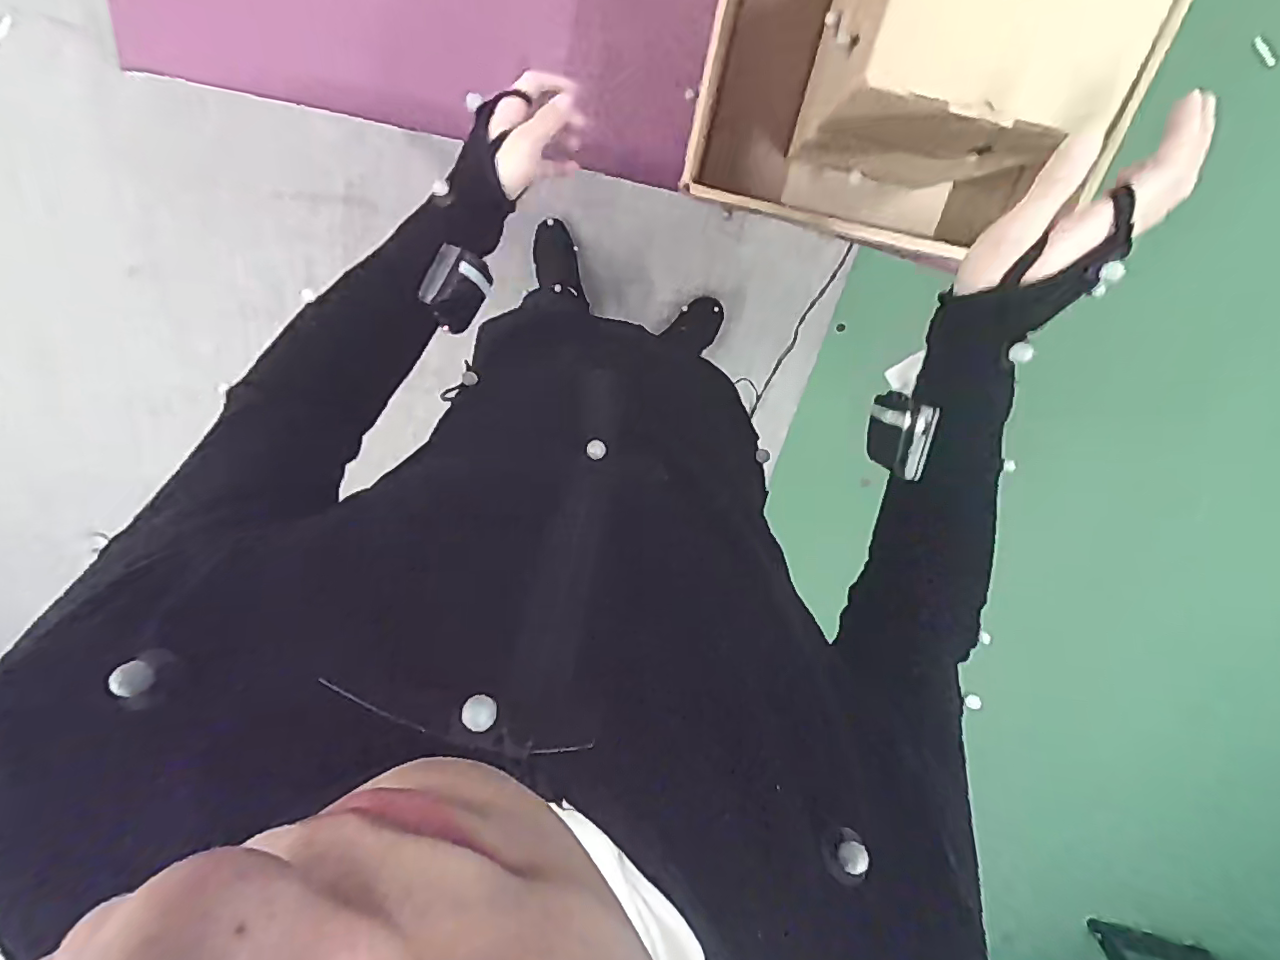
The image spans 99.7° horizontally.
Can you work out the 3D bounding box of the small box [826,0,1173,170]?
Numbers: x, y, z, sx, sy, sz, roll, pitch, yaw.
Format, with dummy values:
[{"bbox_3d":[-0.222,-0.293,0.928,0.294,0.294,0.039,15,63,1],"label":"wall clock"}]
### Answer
[{"bbox_3d":[0.253,-0.348,0.397,0.168,0.176,0.179,14,113,-1],"label":"small box"}]
